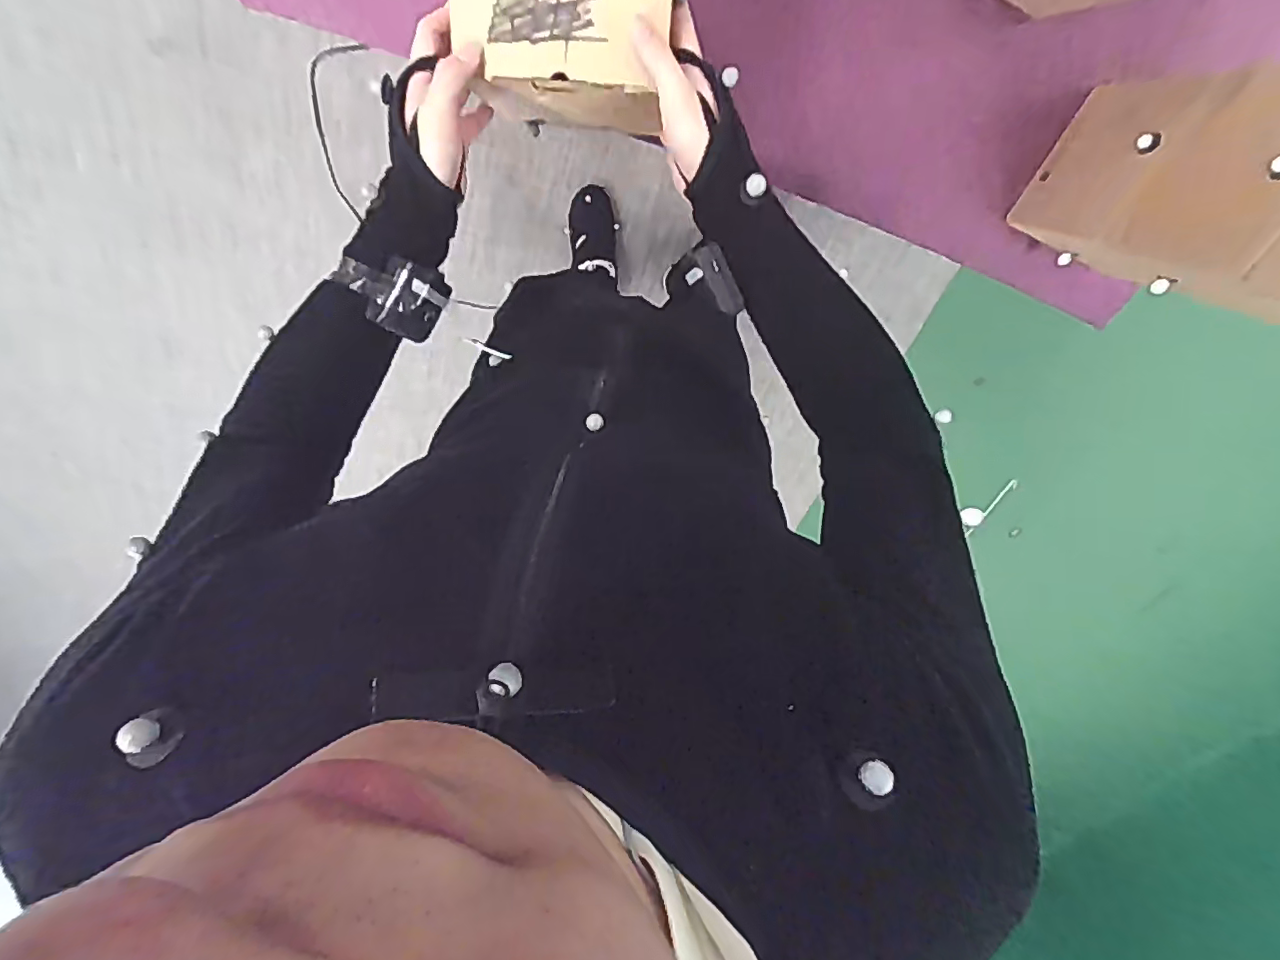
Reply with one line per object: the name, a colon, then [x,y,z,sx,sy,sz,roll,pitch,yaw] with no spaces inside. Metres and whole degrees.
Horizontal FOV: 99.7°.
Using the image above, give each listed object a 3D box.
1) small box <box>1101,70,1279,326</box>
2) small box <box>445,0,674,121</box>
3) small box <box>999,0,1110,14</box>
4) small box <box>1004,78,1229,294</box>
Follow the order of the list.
small box: [0.616,-0.264,0.516,0.168,0.176,0.179,18,121,-13]
small box: [-0.055,-0.422,0.453,0.168,0.176,0.179,5,112,0]
small box: [0.412,-0.575,0.491,0.168,0.176,0.179,17,121,-14]
small box: [0.605,-0.352,0.654,0.179,0.176,0.168,17,120,-14]
